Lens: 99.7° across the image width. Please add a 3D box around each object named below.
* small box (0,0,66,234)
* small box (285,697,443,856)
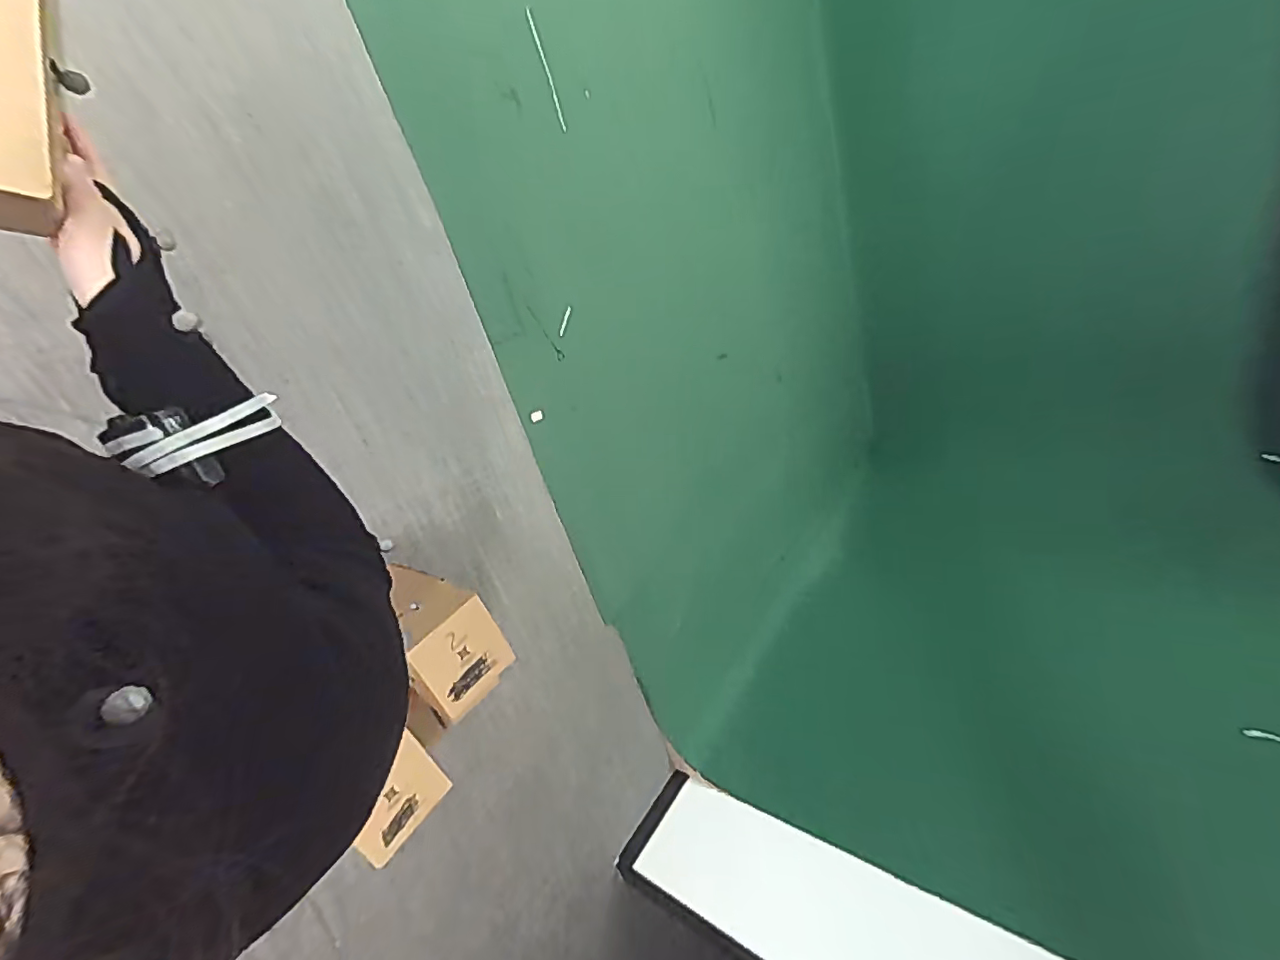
[{"bbox_3d":[-0.435,-0.249,0.289,0.168,0.176,0.179,-2,102,-44],"label":"small box"},{"bbox_3d":[-0.512,0.538,1.006,0.168,0.176,0.179,-44,124,-39],"label":"small box"}]
